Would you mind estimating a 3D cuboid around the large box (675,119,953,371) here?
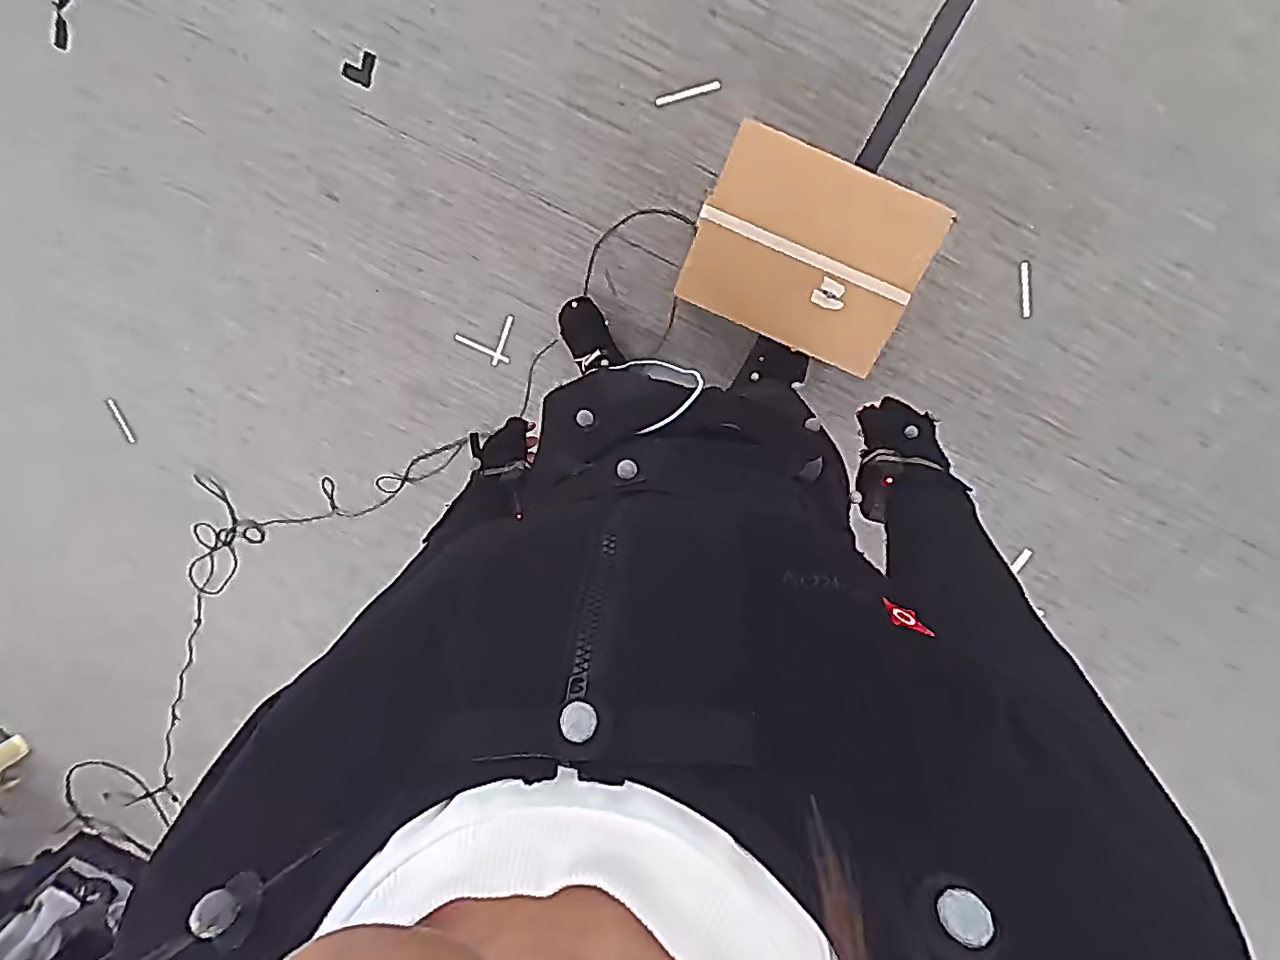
[{"bbox_3d":[0.317,-0.461,1.112,0.408,0.320,0.320,23,112,-2],"label":"large box"}]
